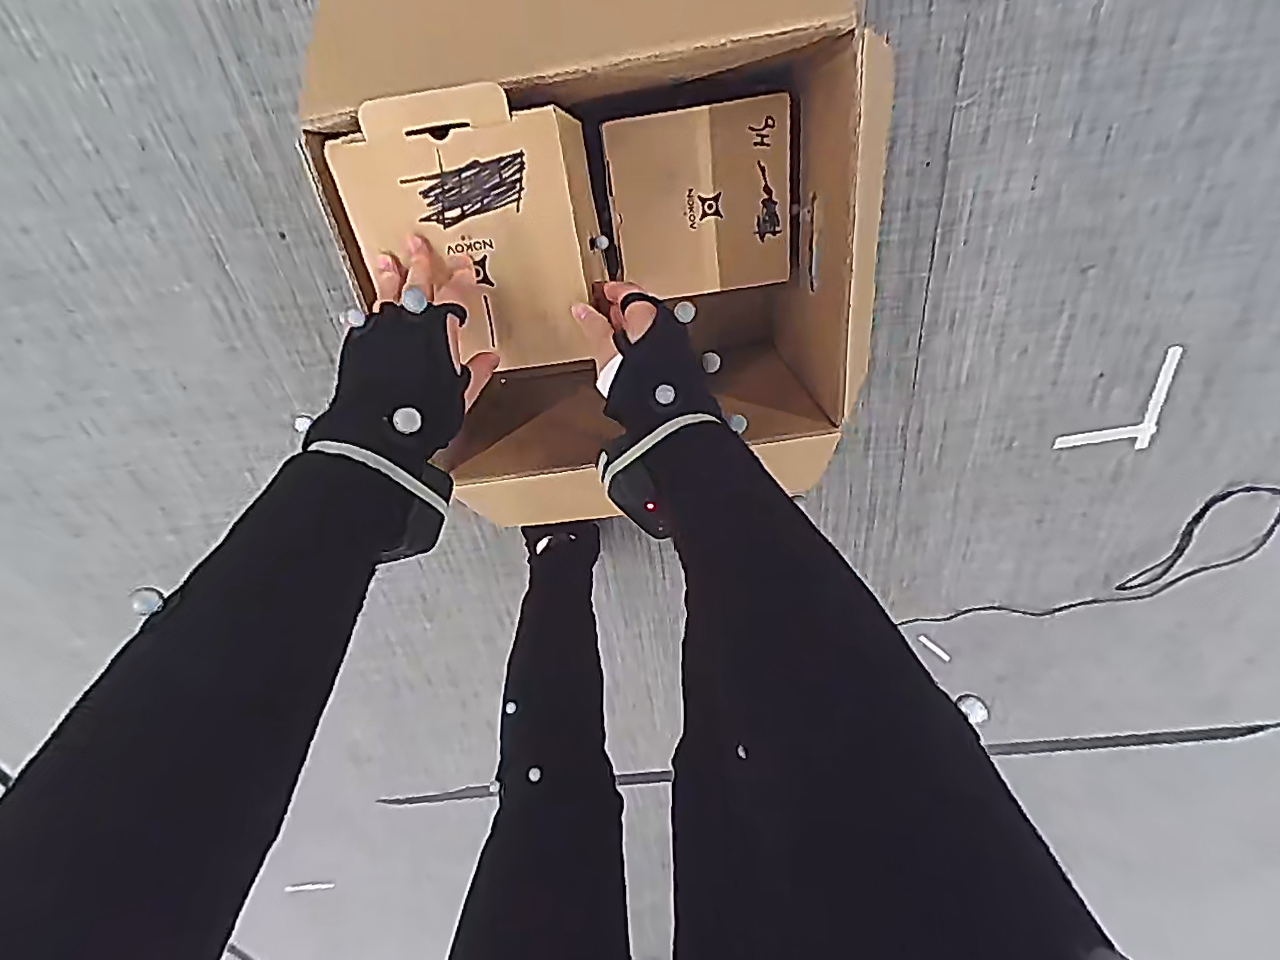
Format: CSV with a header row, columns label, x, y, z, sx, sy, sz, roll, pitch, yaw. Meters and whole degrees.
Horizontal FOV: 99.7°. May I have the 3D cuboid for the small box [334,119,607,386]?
label,x,y,z,sx,sy,sz,roll,pitch,yaw
small box,-0.126,-0.203,0.485,0.168,0.176,0.179,-7,121,4
